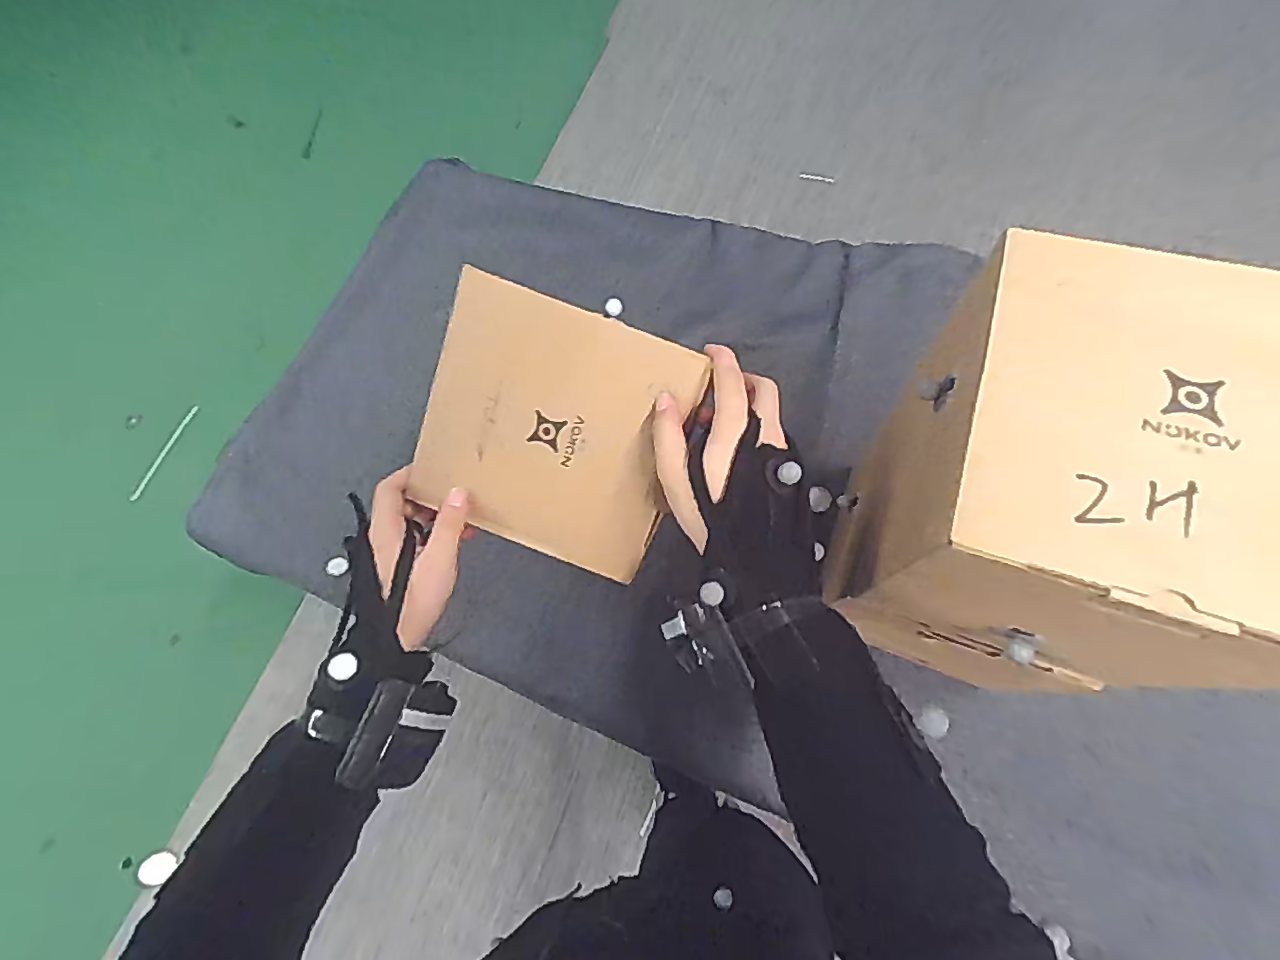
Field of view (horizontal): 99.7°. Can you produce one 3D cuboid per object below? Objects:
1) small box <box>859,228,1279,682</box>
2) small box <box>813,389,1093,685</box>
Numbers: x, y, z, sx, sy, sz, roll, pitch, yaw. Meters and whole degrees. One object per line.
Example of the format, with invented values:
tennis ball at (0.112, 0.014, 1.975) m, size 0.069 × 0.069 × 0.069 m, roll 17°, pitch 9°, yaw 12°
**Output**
small box at (0.240, -0.001, 0.306) m, size 0.168 × 0.176 × 0.179 m, roll 16°, pitch 73°, yaw 14°
small box at (0.258, 0.057, 0.460) m, size 0.168 × 0.176 × 0.179 m, roll 20°, pitch 73°, yaw 14°
